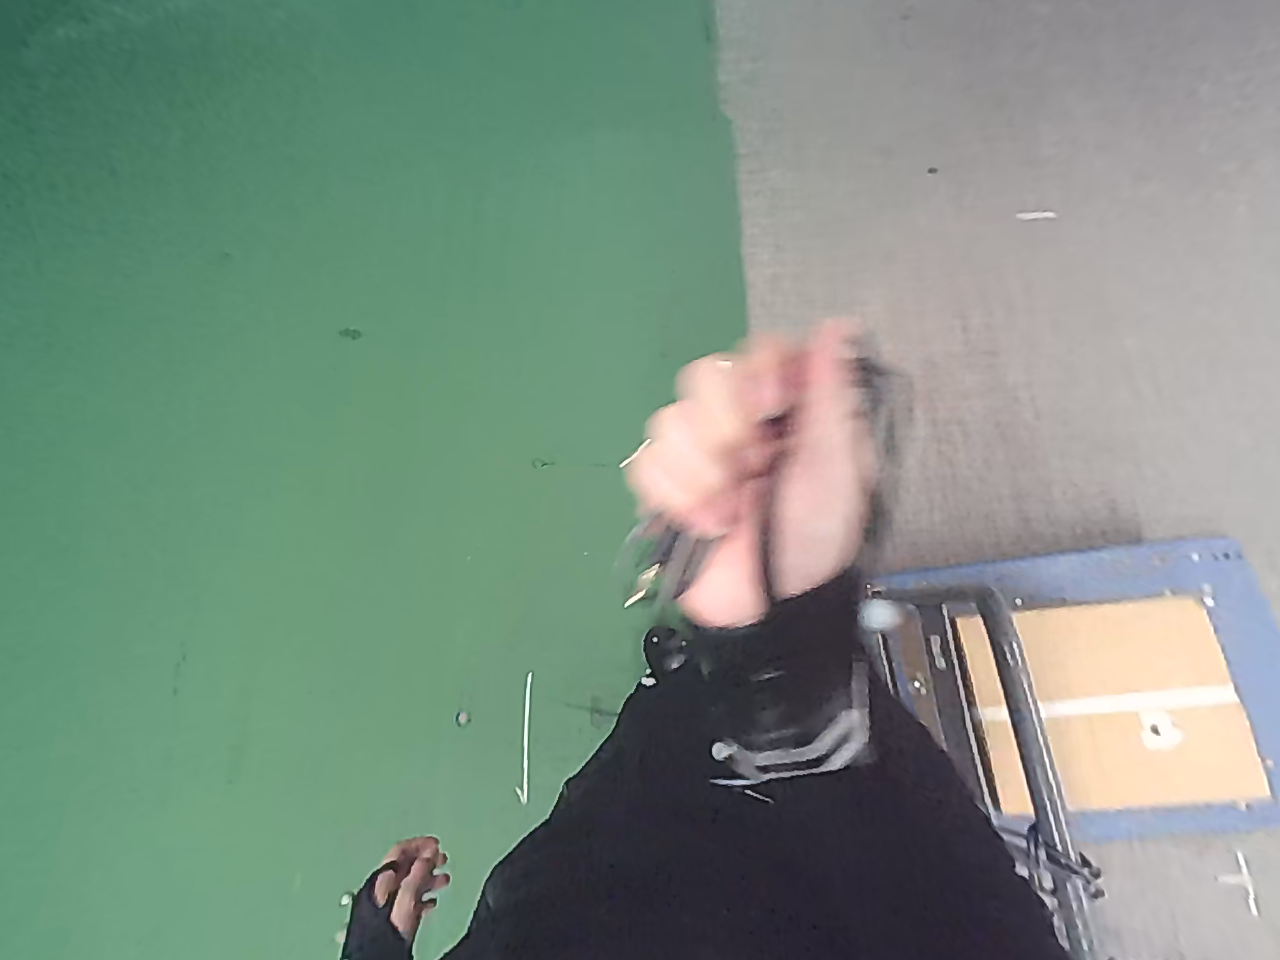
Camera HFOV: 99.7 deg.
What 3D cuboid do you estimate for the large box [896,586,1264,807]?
[{"bbox_3d":[0.779,0.392,1.040,0.408,0.320,0.320,-7,76,4],"label":"large box"}]
